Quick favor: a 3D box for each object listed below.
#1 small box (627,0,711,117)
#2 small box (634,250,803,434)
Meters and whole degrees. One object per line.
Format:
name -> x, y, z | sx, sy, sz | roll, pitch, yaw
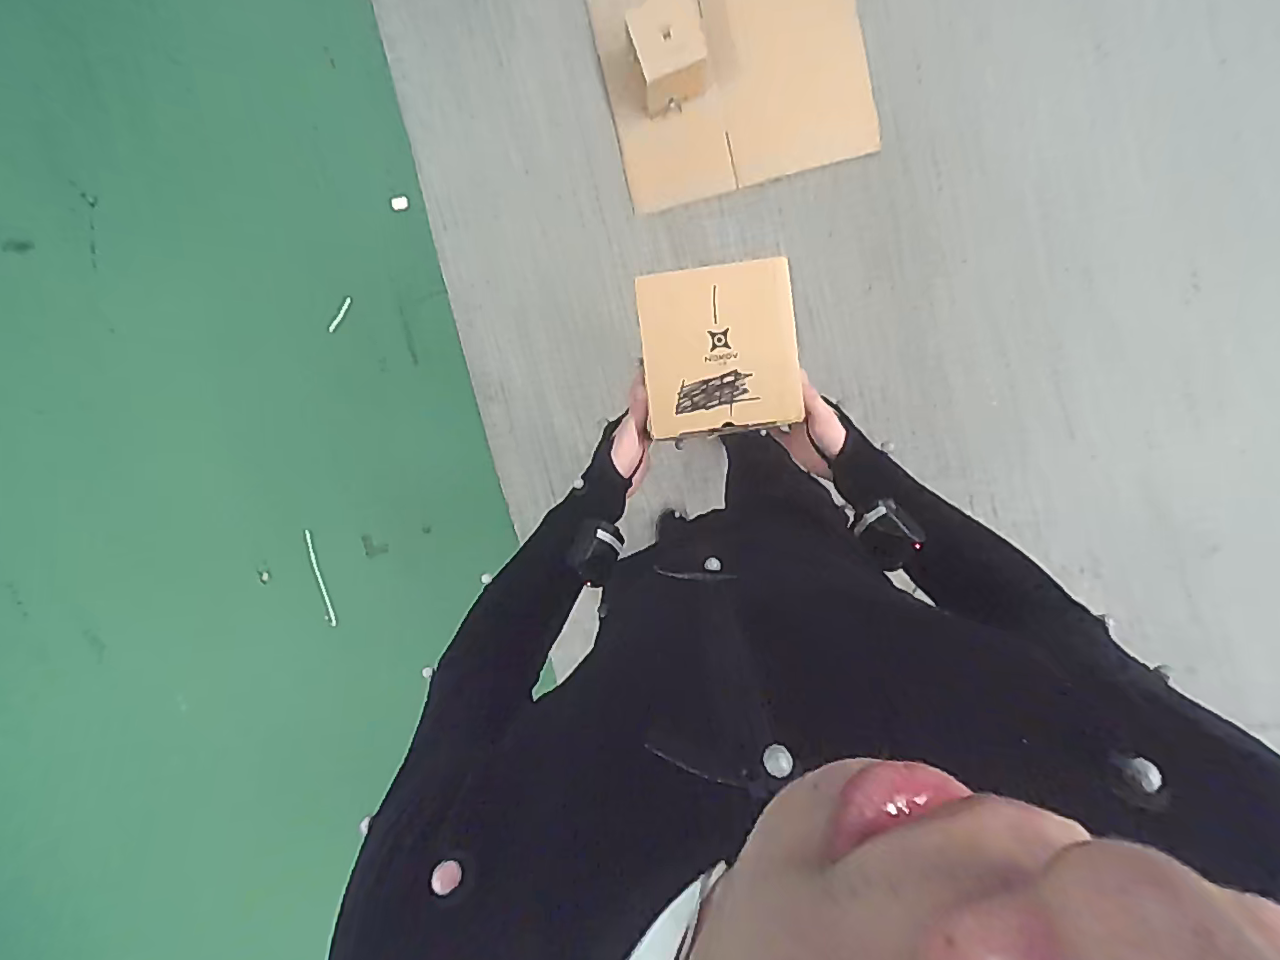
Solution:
small box -> 0.075, -1.098, 1.400 | 0.168, 0.176, 0.179 | -19, 94, 6
small box -> 0.088, -0.148, 0.647 | 0.168, 0.176, 0.179 | -7, 91, 3
